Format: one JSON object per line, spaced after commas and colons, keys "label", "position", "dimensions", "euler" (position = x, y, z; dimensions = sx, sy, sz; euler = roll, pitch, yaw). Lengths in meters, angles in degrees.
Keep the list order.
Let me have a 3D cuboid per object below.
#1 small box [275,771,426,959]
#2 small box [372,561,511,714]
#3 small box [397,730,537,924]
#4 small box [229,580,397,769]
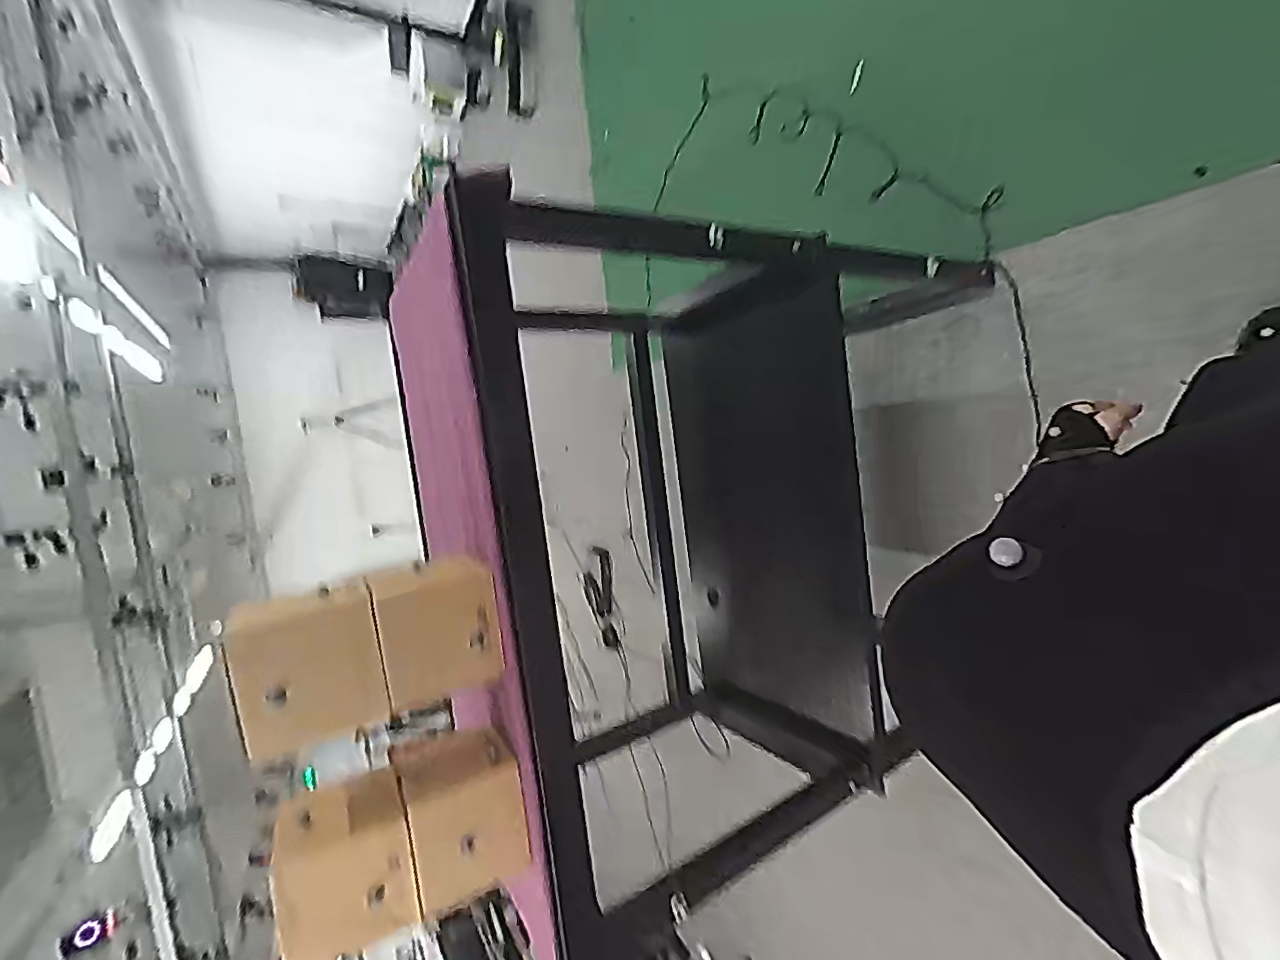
{"label": "small box", "position": [-0.422, 0.565, 0.799], "dimensions": [0.179, 0.176, 0.168], "euler": [-2, 96, 59]}
{"label": "small box", "position": [-0.314, 0.233, 0.853], "dimensions": [0.179, 0.176, 0.168], "euler": [3, 101, 59]}
{"label": "small box", "position": [-0.280, 0.538, 0.873], "dimensions": [0.168, 0.176, 0.179], "euler": [-2, 97, 60]}
{"label": "small box", "position": [-0.452, 0.259, 0.767], "dimensions": [0.168, 0.176, 0.179], "euler": [2, 101, 59]}
